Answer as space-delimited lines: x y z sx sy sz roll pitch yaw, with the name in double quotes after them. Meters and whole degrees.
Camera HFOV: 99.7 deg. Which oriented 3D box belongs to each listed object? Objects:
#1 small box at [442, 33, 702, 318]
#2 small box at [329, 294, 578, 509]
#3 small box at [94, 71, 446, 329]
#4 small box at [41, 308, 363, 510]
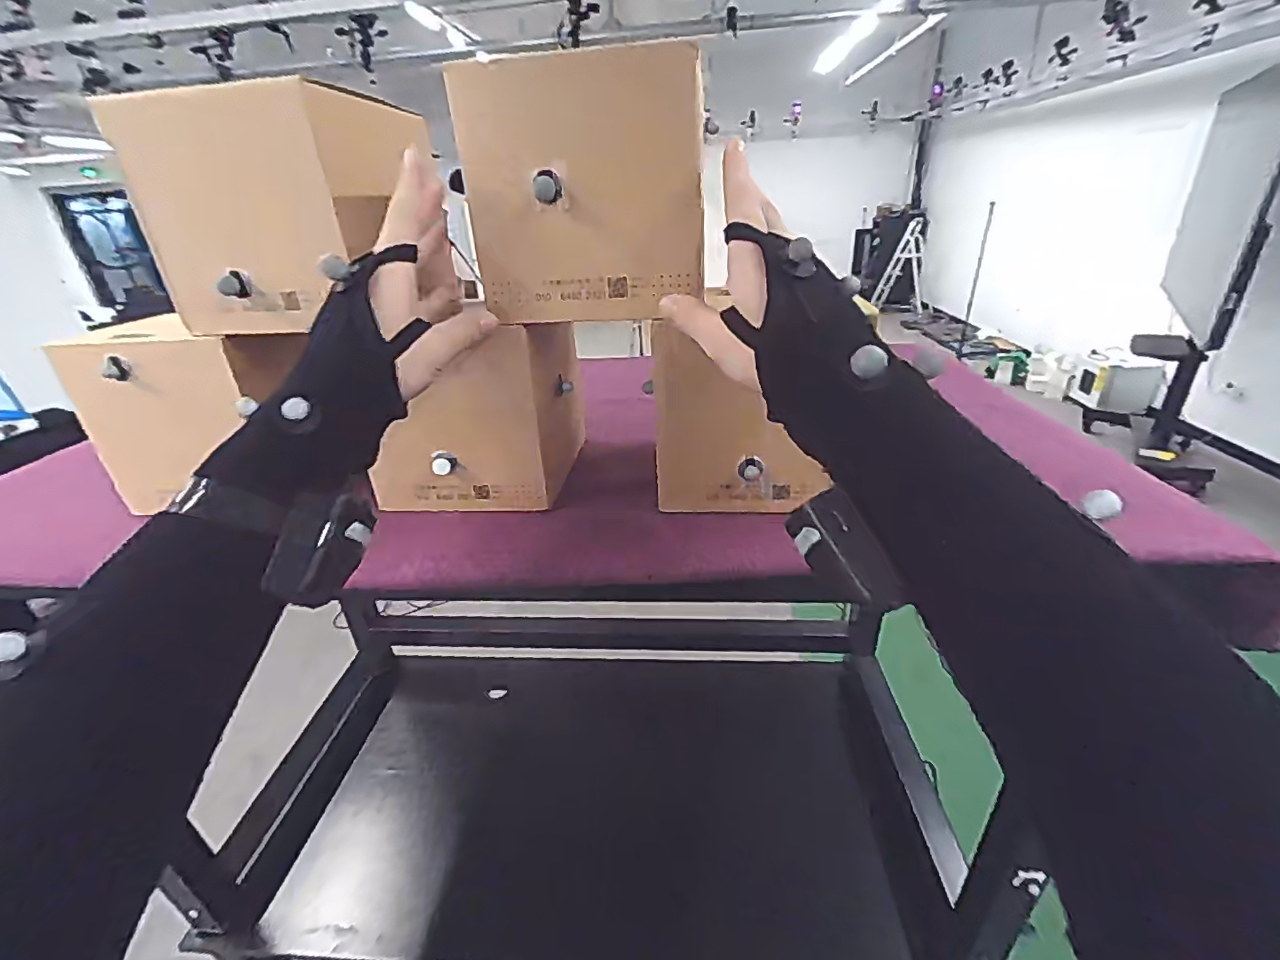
-0.033 -0.231 0.446 0.168 0.176 0.179 0 26 7 "small box"
-0.160 -0.085 0.533 0.168 0.176 0.179 -1 27 6 "small box"
-0.289 -0.232 0.475 0.168 0.176 0.179 0 27 8 "small box"
-0.413 -0.082 0.553 0.168 0.176 0.179 -1 25 5 "small box"
